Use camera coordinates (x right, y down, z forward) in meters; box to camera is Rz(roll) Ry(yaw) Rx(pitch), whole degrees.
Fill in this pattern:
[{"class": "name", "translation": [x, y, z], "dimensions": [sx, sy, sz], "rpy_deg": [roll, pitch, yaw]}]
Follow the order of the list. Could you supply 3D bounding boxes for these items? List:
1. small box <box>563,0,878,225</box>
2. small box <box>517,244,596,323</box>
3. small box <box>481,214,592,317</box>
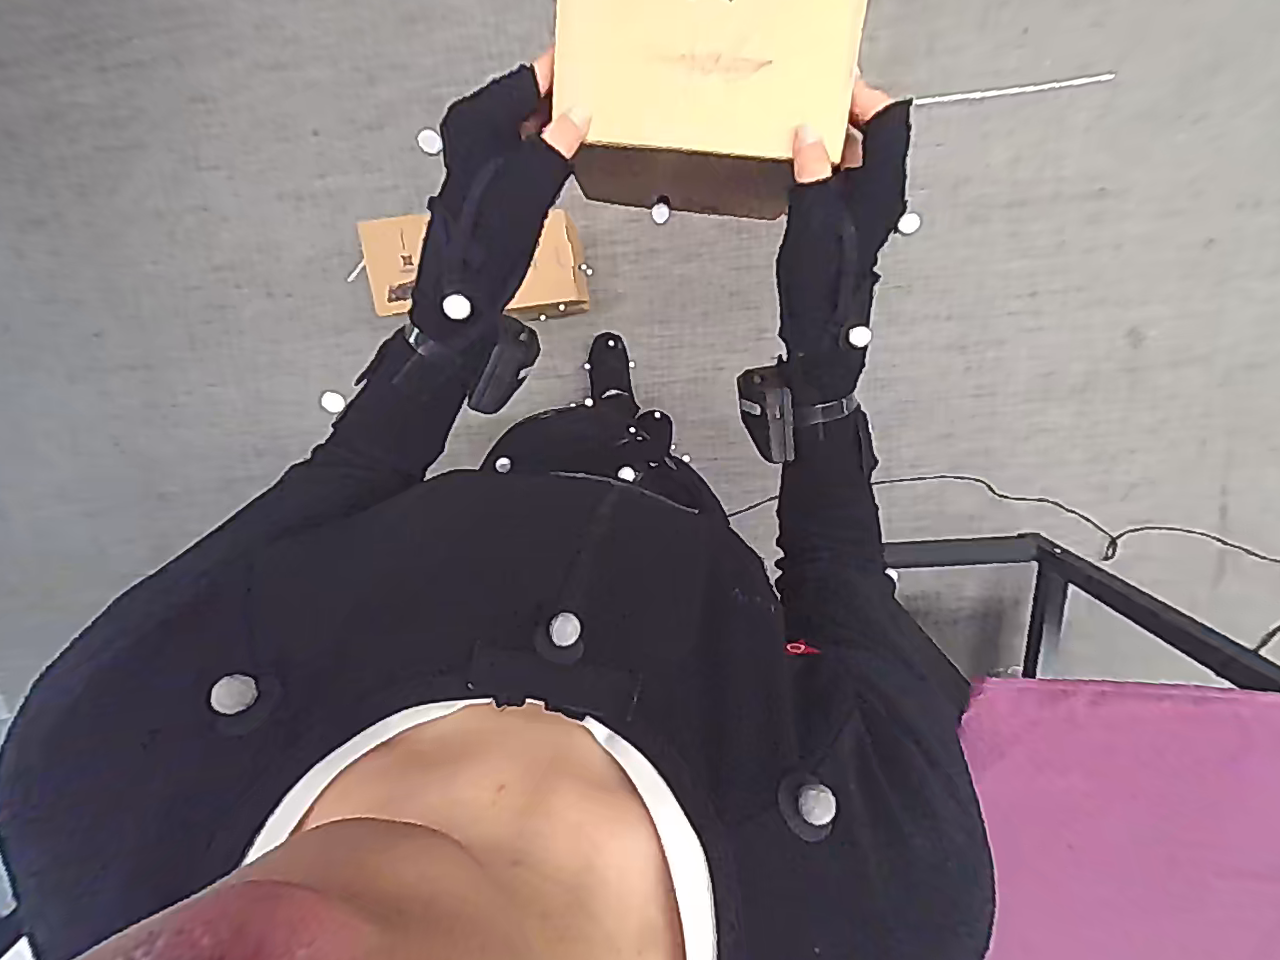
[{"class": "small box", "translation": [0.047, -0.286, 0.361], "dimensions": [0.168, 0.176, 0.179], "rpy_deg": [5, 106, 1]}, {"class": "small box", "translation": [-0.203, -0.472, 1.274], "dimensions": [0.168, 0.176, 0.179], "rpy_deg": [-7, 105, 4]}, {"class": "small box", "translation": [-0.204, -0.433, 1.115], "dimensions": [0.179, 0.176, 0.168], "rpy_deg": [-8, 106, 3]}]
